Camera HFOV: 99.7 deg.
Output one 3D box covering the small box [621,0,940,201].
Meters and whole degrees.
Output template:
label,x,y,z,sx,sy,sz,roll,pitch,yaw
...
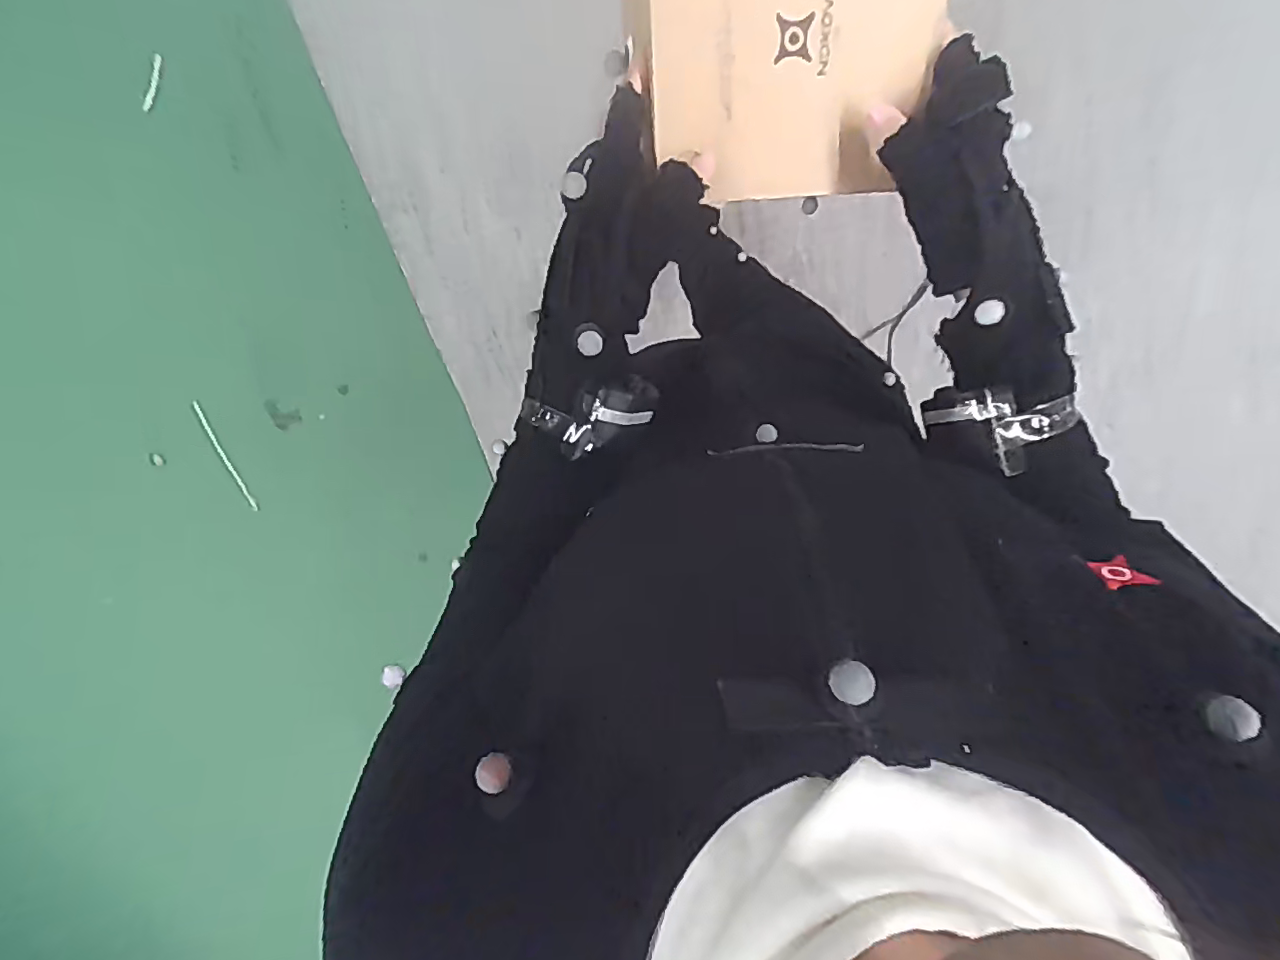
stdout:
label,x,y,z,sx,sy,sz,roll,pitch,yaw
small box,0.082,-0.298,0.383,0.179,0.176,0.168,-6,118,-1
